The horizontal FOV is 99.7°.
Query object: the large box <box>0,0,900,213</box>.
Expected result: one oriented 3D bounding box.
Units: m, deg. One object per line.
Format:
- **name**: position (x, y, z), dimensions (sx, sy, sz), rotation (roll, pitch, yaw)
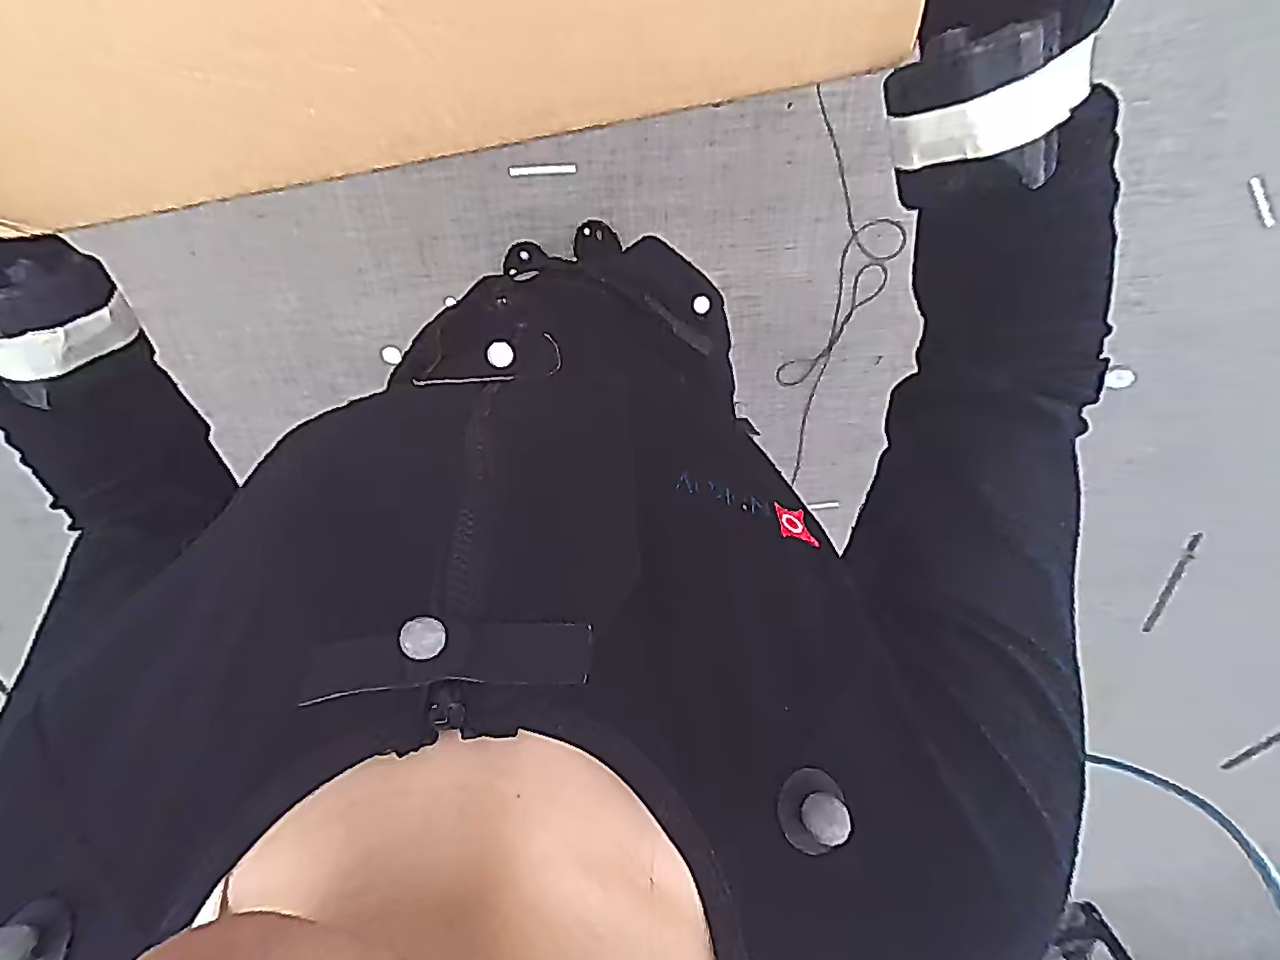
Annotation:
- **large box**: position (-0.120, -0.364, 0.221), dimensions (0.408, 0.320, 0.320), rotation (-9, 139, 2)
